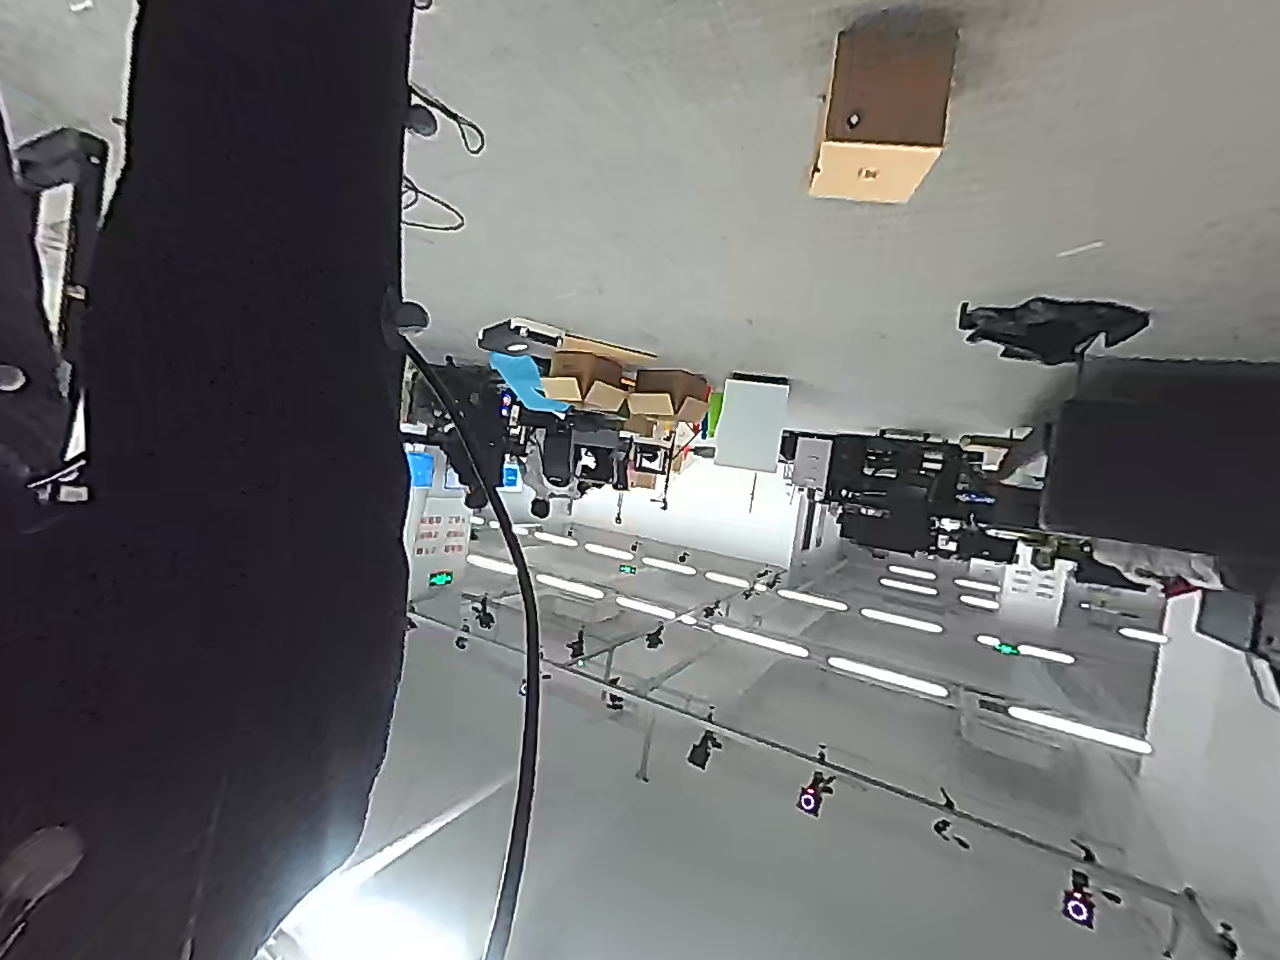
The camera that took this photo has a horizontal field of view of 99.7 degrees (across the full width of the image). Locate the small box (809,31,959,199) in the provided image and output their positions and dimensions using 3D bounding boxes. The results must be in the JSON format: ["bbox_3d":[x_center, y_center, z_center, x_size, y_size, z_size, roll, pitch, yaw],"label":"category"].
[{"bbox_3d":[0.388,-0.584,0.878,0.179,0.176,0.168,9,-178,9],"label":"small box"}]
